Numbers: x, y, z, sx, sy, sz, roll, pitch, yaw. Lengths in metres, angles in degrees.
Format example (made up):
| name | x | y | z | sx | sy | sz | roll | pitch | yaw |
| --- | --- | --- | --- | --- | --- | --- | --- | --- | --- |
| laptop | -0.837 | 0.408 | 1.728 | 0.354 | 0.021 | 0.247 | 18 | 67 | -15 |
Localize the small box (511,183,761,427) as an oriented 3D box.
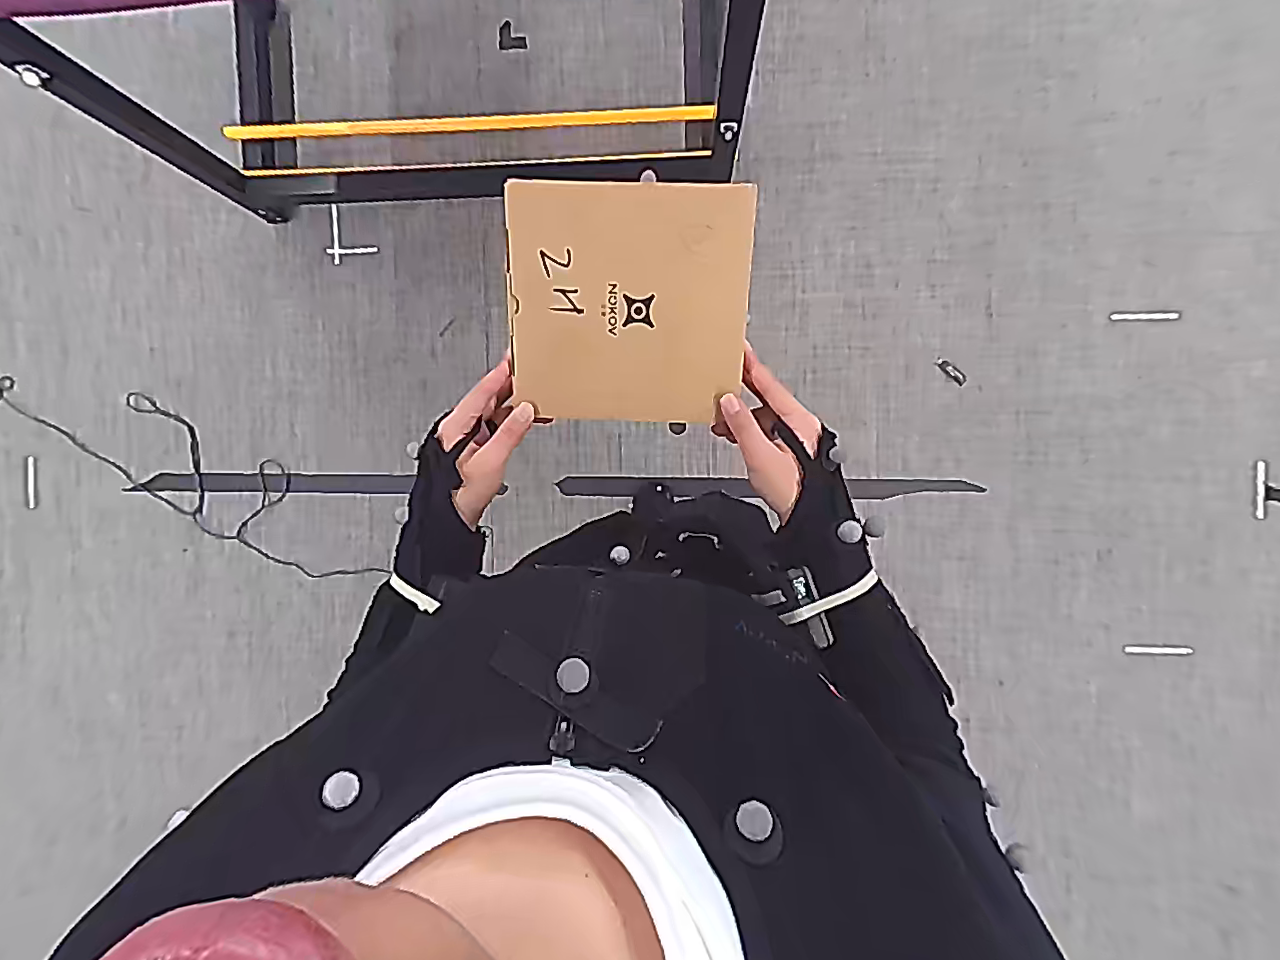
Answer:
| name | x | y | z | sx | sy | sz | roll | pitch | yaw |
| --- | --- | --- | --- | --- | --- | --- | --- | --- | --- |
| small box | -0.003 | -0.147 | 0.471 | 0.179 | 0.176 | 0.168 | 3 | 107 | 2 |
